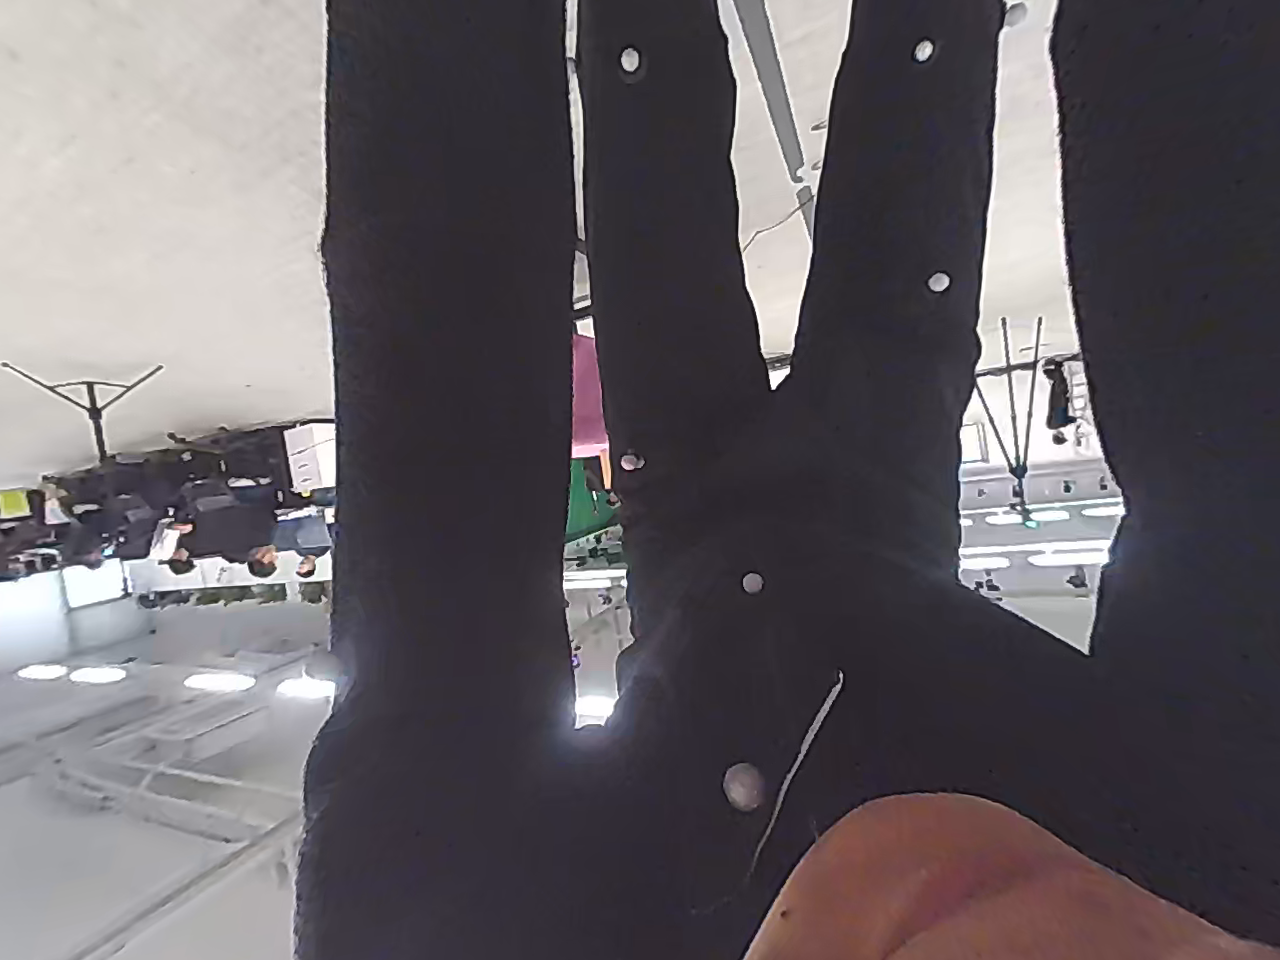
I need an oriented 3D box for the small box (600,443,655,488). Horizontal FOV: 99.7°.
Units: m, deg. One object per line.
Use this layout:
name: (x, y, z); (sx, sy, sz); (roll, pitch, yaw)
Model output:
small box: (-0.057, -0.064, 2.321); (0.179, 0.176, 0.168); (-8, -178, 28)
